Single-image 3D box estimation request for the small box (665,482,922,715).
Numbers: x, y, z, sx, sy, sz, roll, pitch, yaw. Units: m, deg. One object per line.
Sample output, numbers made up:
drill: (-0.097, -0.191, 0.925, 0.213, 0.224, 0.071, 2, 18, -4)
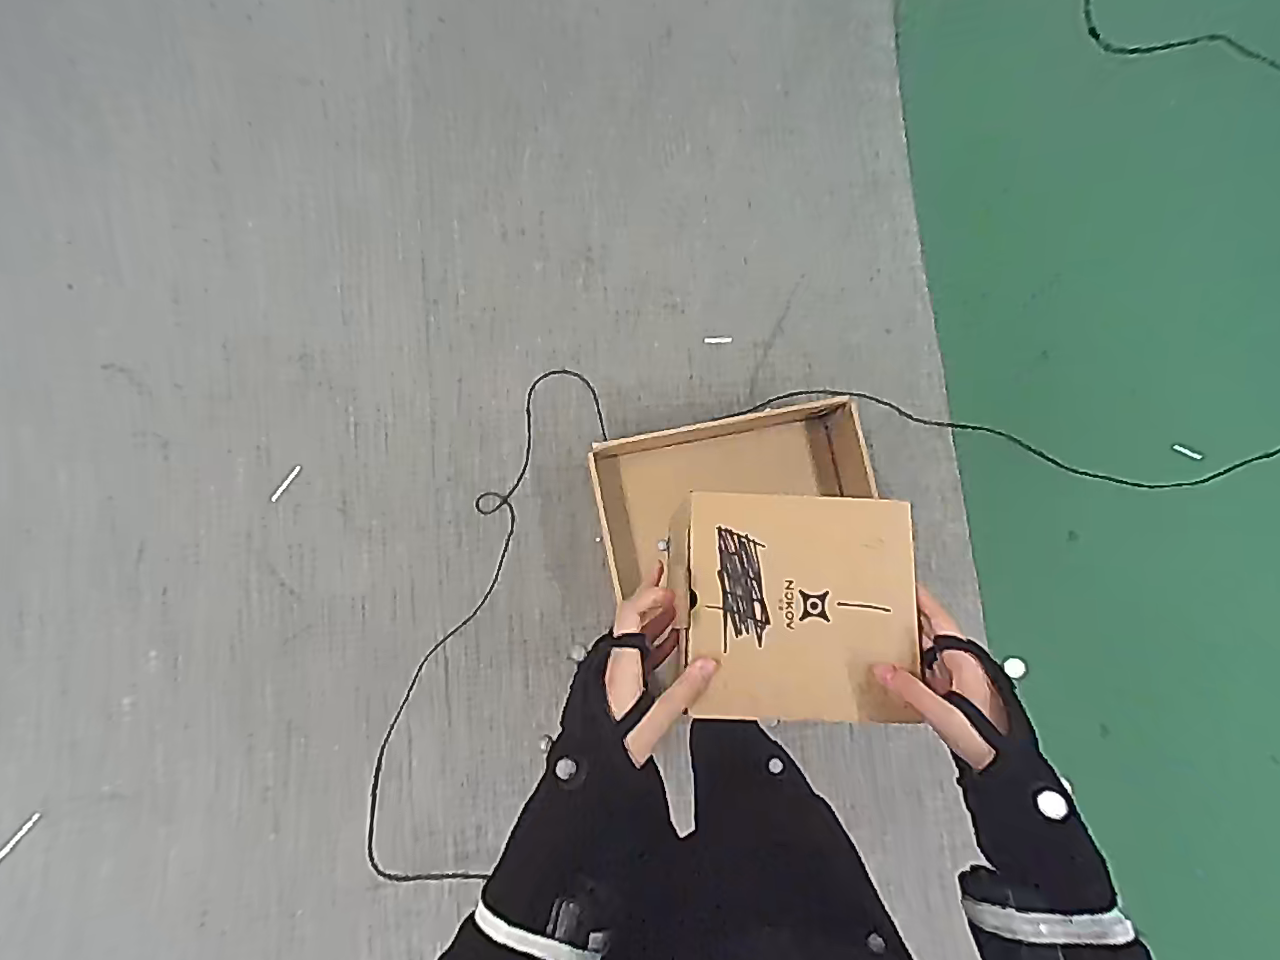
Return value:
small box: (0.116, 0.102, 0.480, 0.179, 0.176, 0.168, 3, 78, -3)
